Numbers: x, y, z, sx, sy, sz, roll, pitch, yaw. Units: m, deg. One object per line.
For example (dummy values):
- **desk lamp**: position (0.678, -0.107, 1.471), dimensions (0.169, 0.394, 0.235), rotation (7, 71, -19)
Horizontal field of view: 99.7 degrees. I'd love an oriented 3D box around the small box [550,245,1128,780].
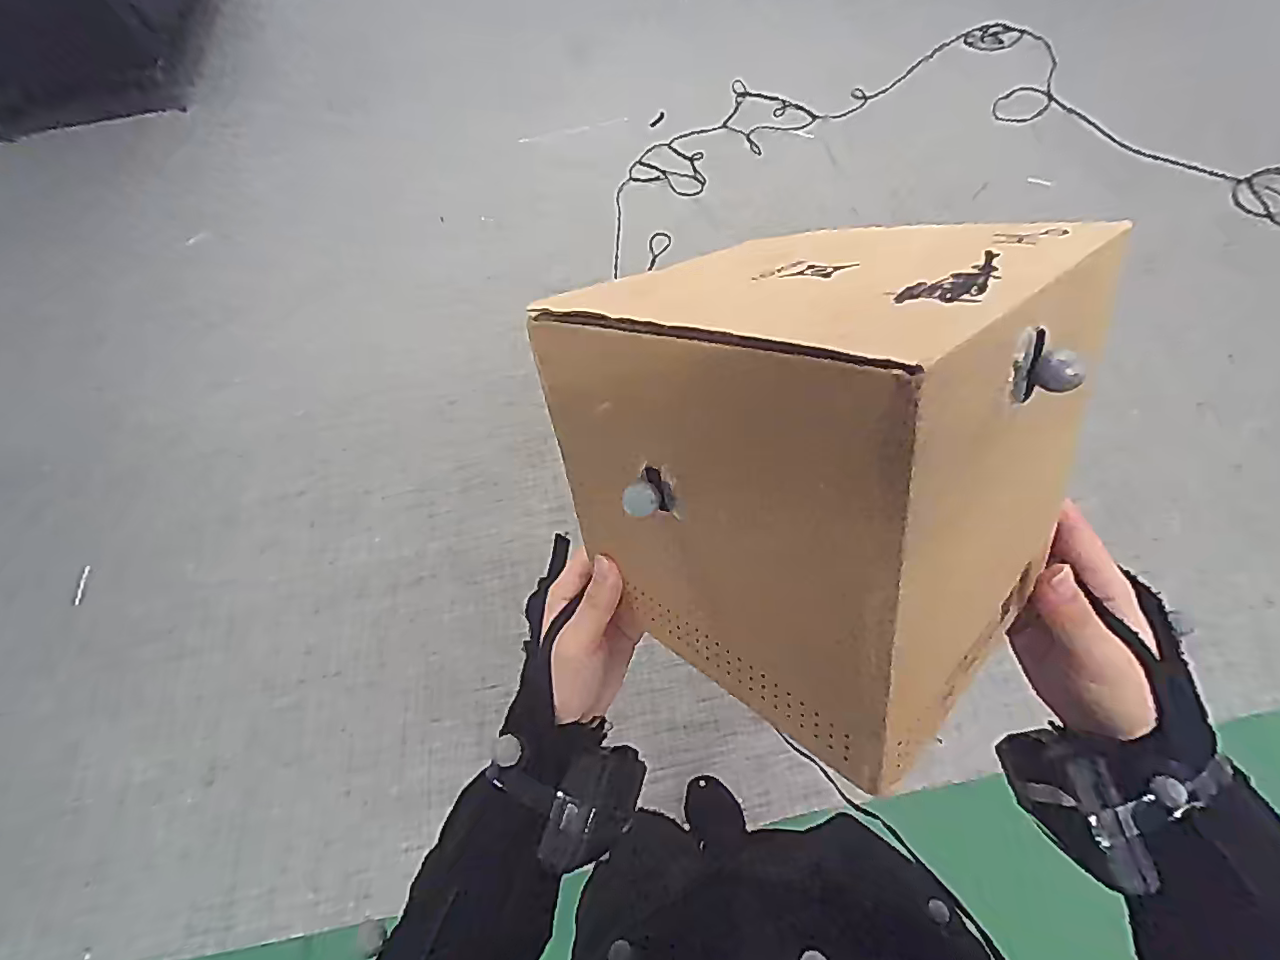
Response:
- **small box**: position (0.086, -0.004, 0.263), dimensions (0.168, 0.176, 0.179), rotation (-32, 34, -31)
